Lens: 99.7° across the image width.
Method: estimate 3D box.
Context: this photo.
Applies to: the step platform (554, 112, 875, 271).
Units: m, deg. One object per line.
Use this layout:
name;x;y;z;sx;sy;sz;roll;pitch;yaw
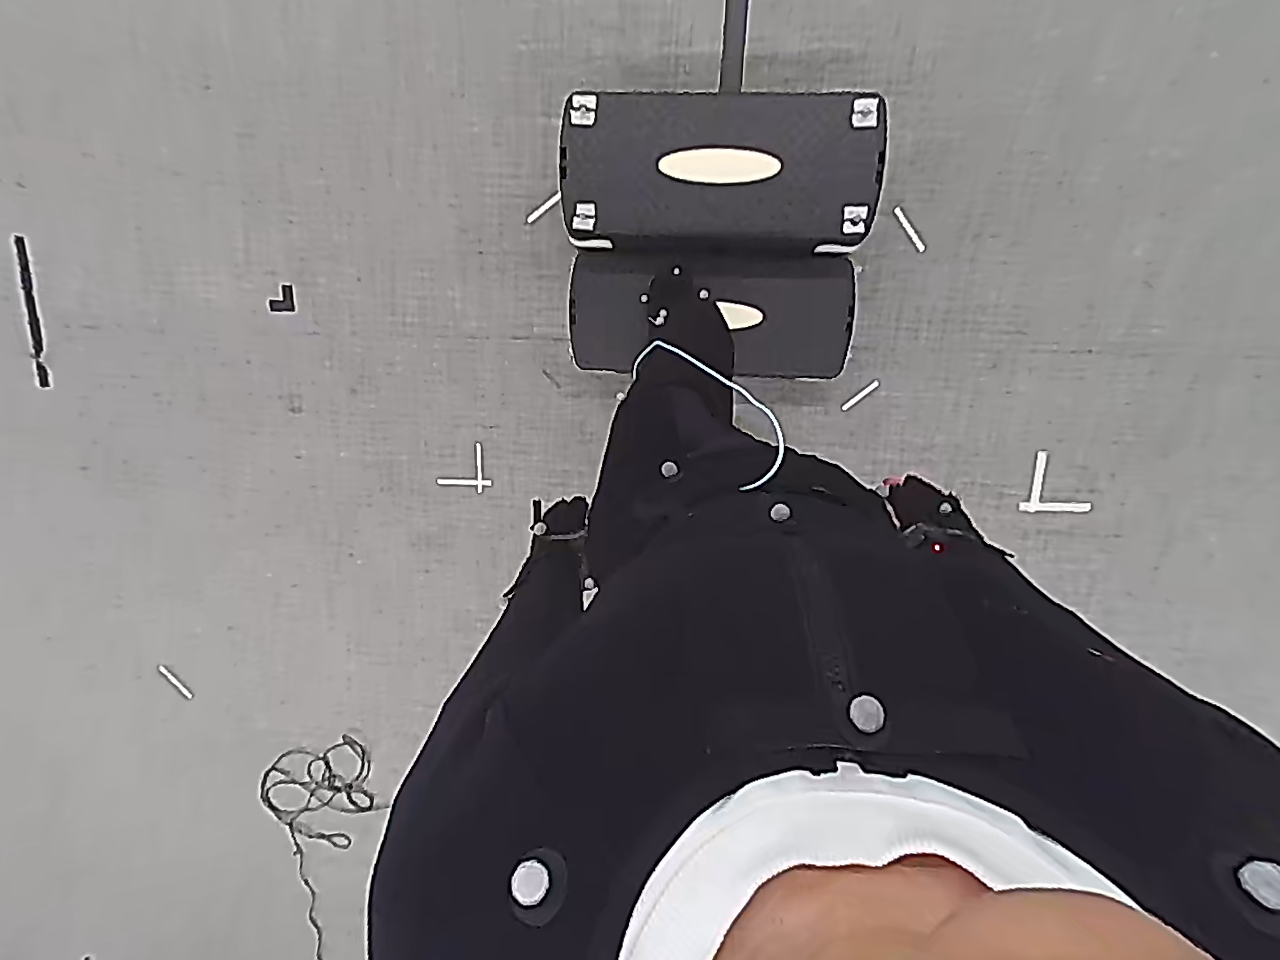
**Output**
step platform;0.153;-0.632;1.206;0.684;0.204;0.286;2;103;3
